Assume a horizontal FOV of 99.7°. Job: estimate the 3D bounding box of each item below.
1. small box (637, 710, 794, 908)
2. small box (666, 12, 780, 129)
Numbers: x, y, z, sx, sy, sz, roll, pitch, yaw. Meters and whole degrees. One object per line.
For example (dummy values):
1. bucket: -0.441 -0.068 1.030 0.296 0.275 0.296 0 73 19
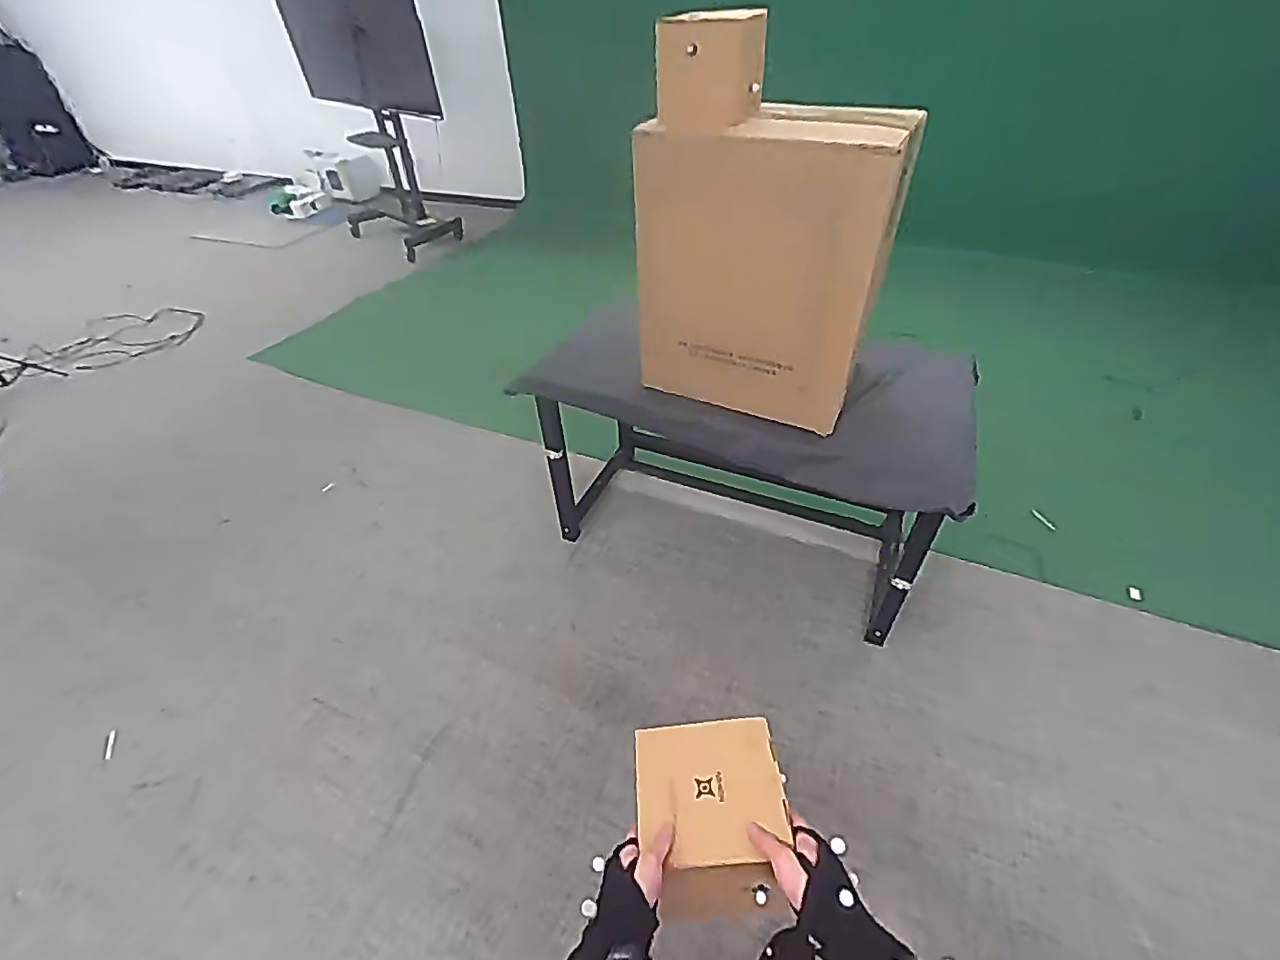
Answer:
1. small box: 0.094 0.429 0.707 0.179 0.176 0.168 -9 34 5
2. small box: 0.170 -0.839 1.112 0.179 0.176 0.168 19 50 23
